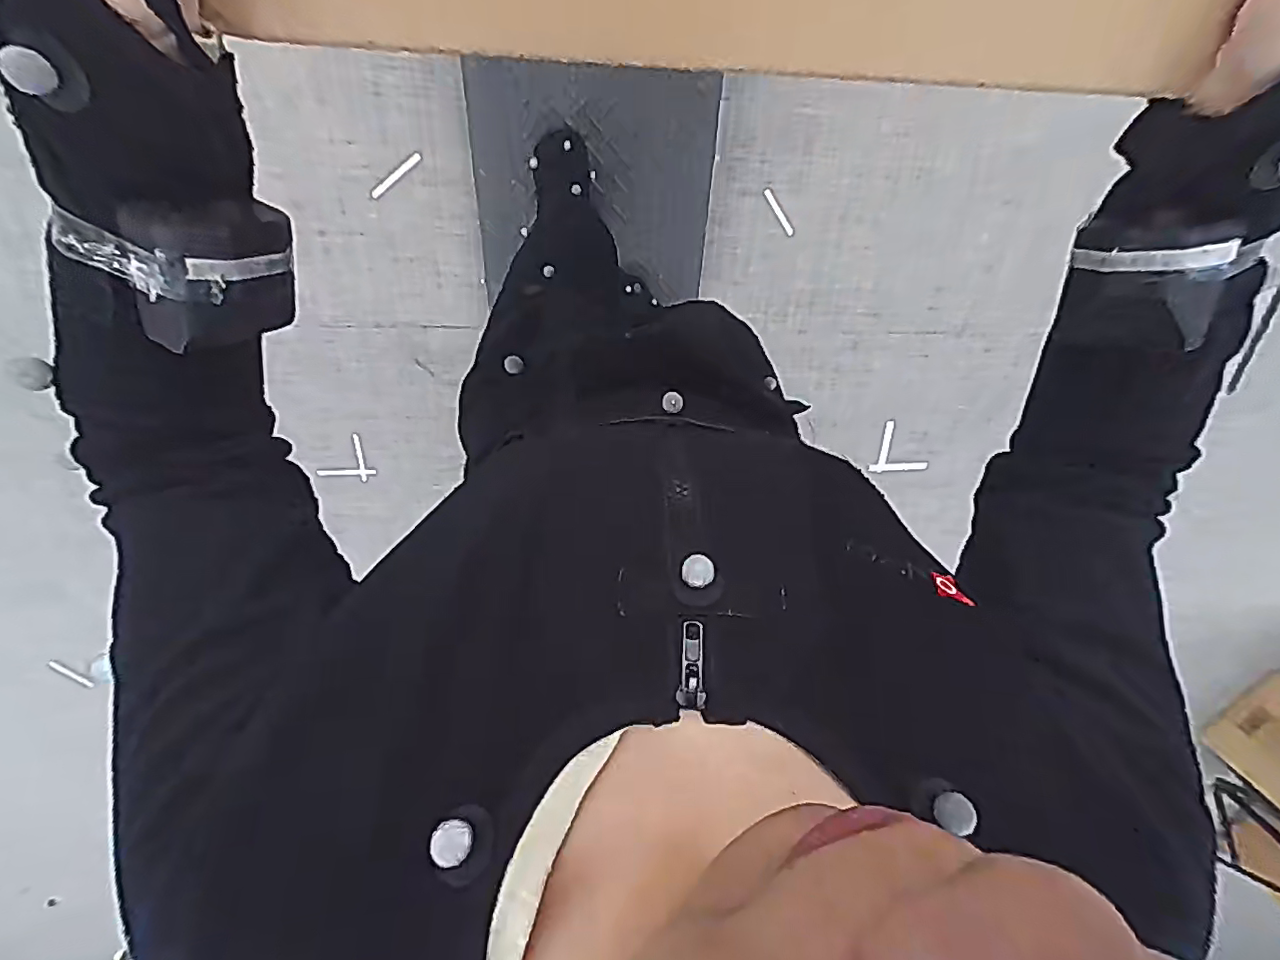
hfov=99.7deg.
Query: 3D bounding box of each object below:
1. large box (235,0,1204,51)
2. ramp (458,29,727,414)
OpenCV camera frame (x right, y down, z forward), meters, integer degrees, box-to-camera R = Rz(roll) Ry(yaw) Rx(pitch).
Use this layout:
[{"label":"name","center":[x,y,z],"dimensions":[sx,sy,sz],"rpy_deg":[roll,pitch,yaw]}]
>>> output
[{"label":"large box","center":[0.033,-0.398,0.218],"dimensions":[0.408,0.320,0.320],"rpy_deg":[0,136,-4]},{"label":"ramp","center":[-0.095,-0.579,1.151],"dimensions":[0.509,0.206,0.991],"rpy_deg":[-2,117,-5]}]
